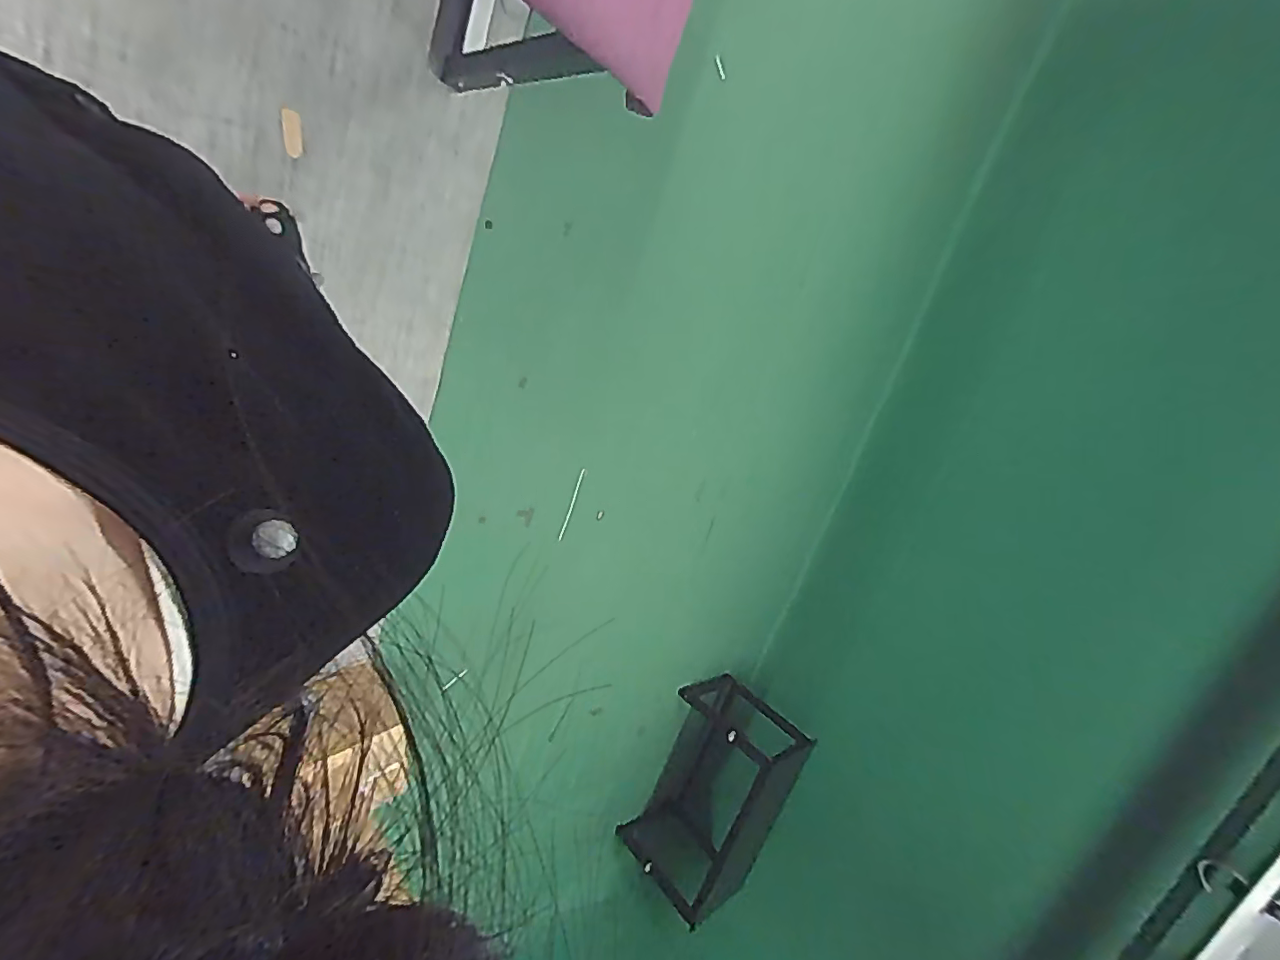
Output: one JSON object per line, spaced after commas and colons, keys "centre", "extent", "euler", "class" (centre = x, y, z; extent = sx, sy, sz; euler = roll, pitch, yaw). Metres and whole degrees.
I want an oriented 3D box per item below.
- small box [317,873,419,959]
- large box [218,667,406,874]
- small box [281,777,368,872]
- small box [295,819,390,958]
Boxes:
{"centre": [-0.623, 1.065, 1.235], "extent": [0.179, 0.176, 0.168], "euler": [-12, 121, -40], "class": "small box"}
{"centre": [-0.974, 0.844, 1.632], "extent": [0.408, 0.320, 0.320], "euler": [-14, 124, -42], "class": "large box"}
{"centre": [-0.840, 0.933, 1.443], "extent": [0.168, 0.176, 0.179], "euler": [-12, 121, -41], "class": "small box"}
{"centre": [-0.734, 0.999, 1.338], "extent": [0.179, 0.176, 0.168], "euler": [-14, 122, -41], "class": "small box"}
